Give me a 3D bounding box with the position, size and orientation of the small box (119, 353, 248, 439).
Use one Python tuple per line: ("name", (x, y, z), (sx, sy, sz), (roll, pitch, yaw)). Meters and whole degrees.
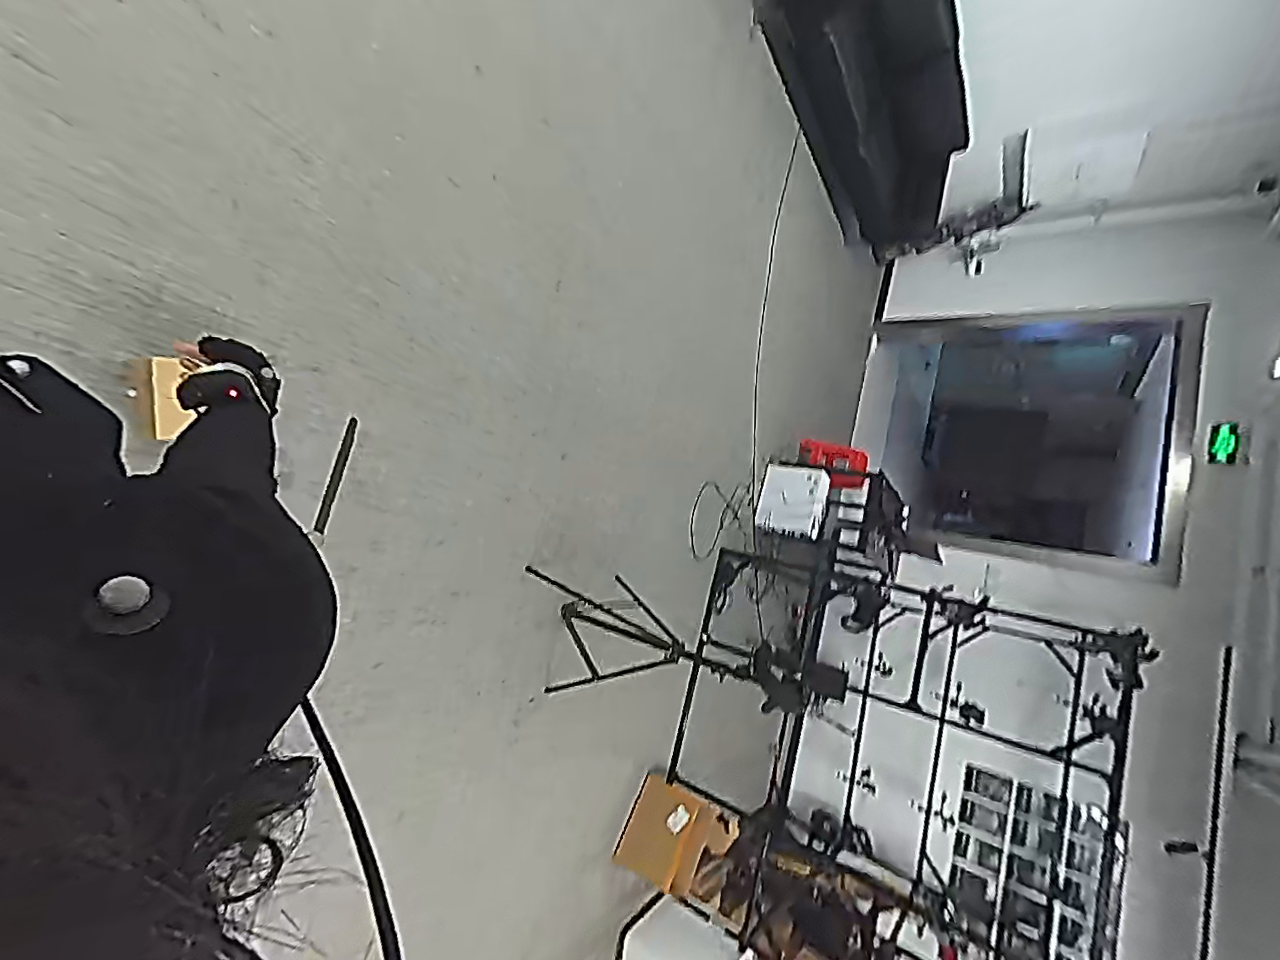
("small box", (-0.973, -0.178, 1.156), (0.179, 0.176, 0.168), (-5, 101, -53))
